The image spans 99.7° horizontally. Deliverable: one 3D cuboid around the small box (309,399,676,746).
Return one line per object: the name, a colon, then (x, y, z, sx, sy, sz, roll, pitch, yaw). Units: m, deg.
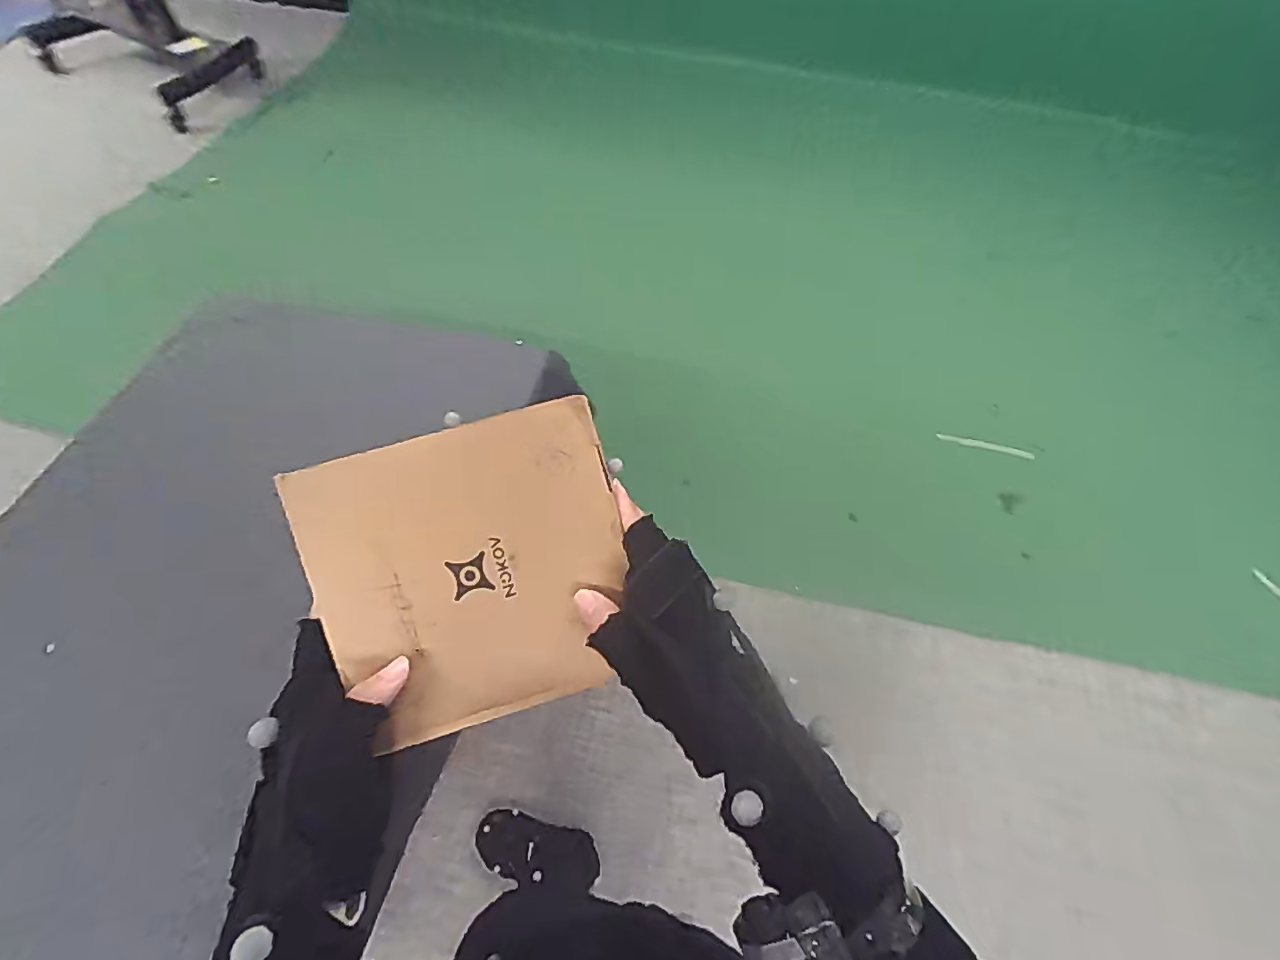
small box: (-0.088, 0.050, 0.389, 0.179, 0.176, 0.168, -16, 92, -4)
